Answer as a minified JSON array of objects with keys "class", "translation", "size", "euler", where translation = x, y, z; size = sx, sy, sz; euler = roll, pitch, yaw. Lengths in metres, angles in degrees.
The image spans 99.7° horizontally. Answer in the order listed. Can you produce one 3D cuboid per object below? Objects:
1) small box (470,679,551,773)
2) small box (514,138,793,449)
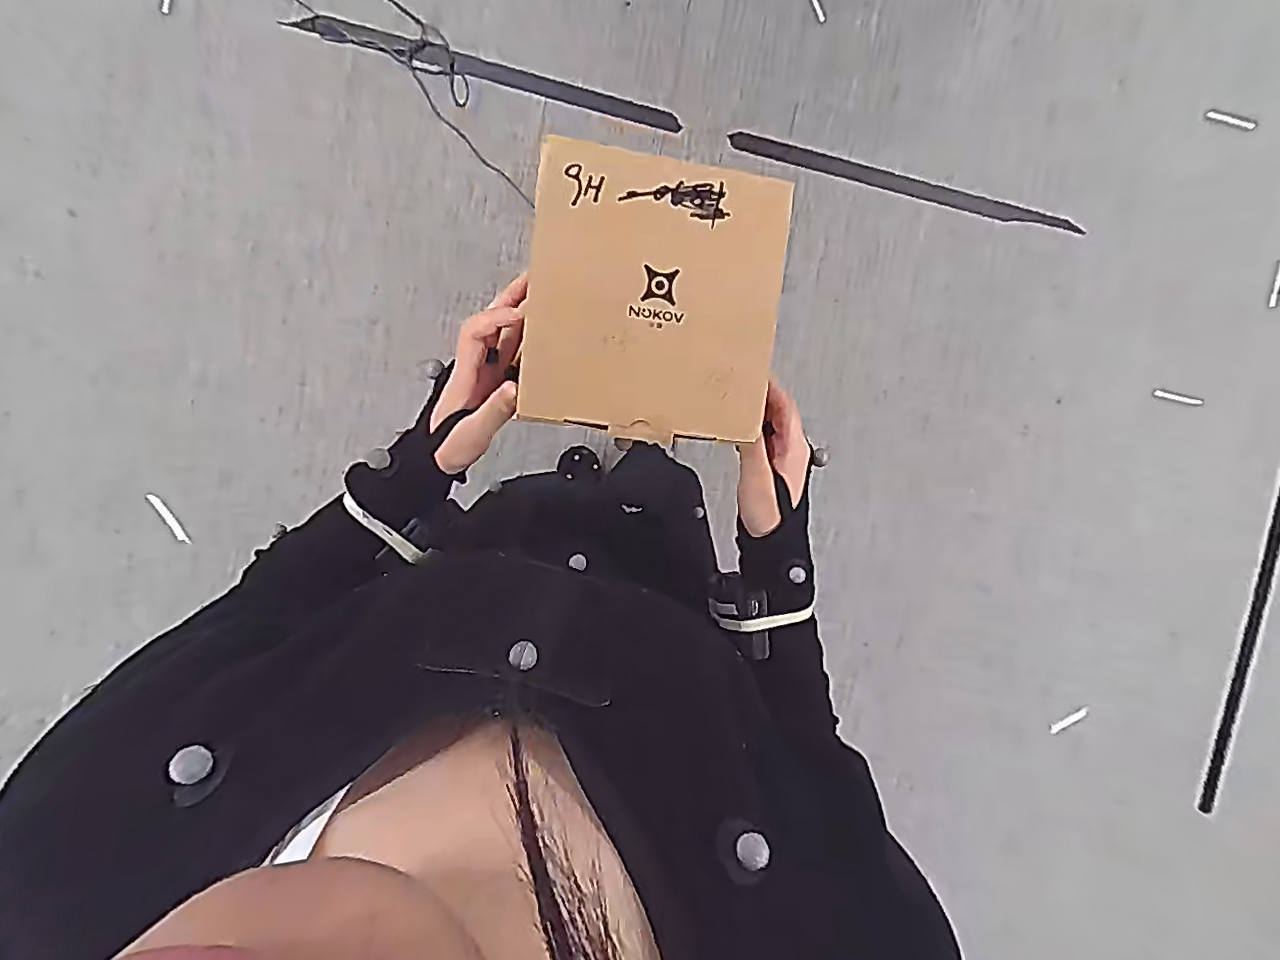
[{"class":"small box","translation":[-0.332,0.635,1.412],"size":[0.179,0.176,0.168],"euler":[5,94,-6]},{"class":"small box","translation":[0.000,-0.125,0.430],"size":[0.168,0.176,0.179],"euler":[6,96,-9]}]
